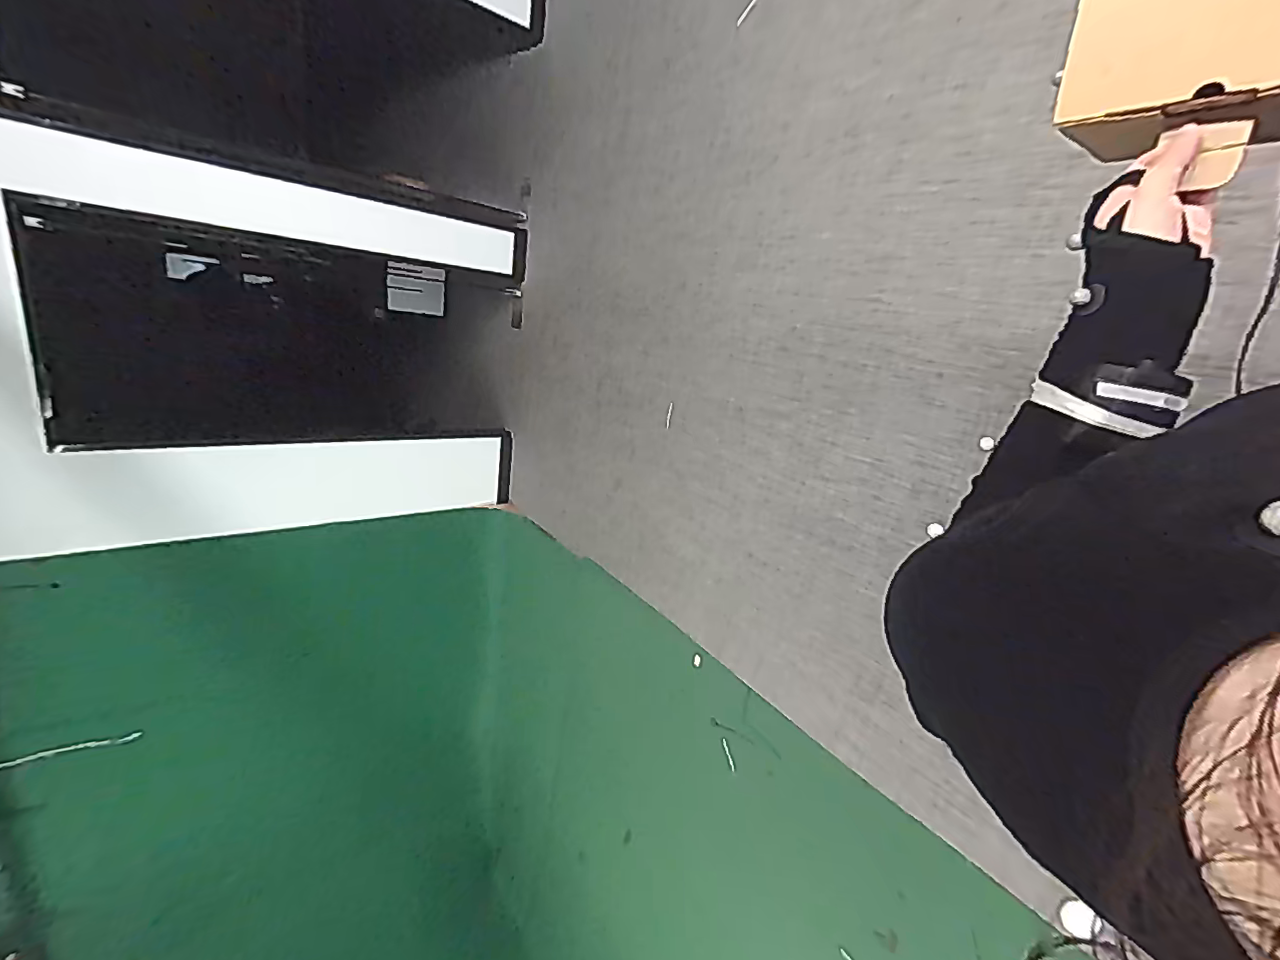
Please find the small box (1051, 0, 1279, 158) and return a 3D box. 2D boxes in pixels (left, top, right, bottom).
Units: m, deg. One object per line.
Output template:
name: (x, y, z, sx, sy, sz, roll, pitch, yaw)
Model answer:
small box: (0.424, -0.344, 0.374, 0.168, 0.176, 0.179, 22, 119, 45)
